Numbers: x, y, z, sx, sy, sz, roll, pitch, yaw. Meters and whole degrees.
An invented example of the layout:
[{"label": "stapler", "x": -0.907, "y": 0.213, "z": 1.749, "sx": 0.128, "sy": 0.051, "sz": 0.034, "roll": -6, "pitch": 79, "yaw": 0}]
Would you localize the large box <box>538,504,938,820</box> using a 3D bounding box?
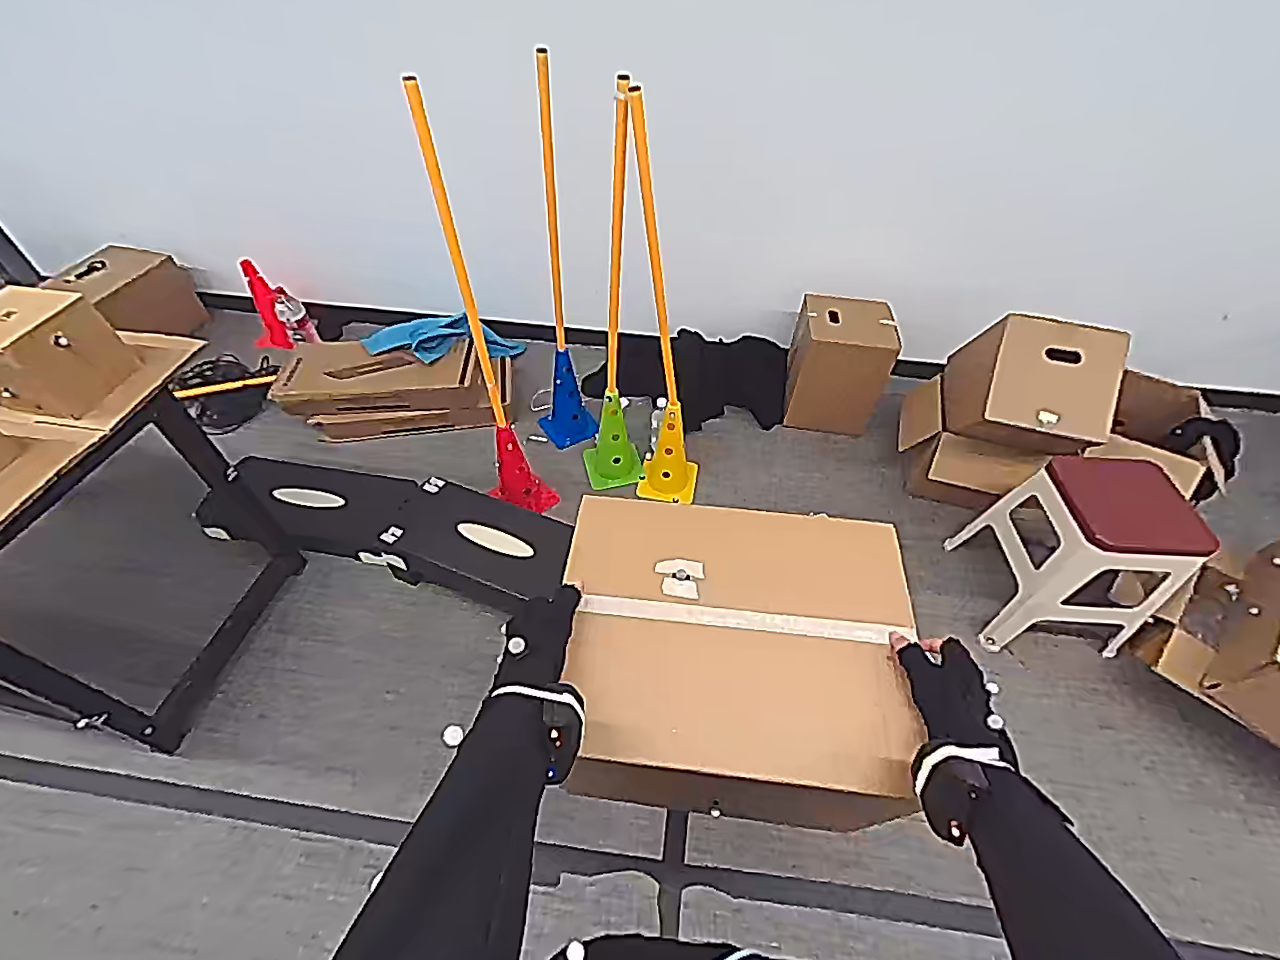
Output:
[{"label": "large box", "x": 0.111, "y": 0.256, "z": 0.742, "sx": 0.408, "sy": 0.320, "sz": 0.320, "roll": 5, "pitch": 52, "yaw": 4}]
